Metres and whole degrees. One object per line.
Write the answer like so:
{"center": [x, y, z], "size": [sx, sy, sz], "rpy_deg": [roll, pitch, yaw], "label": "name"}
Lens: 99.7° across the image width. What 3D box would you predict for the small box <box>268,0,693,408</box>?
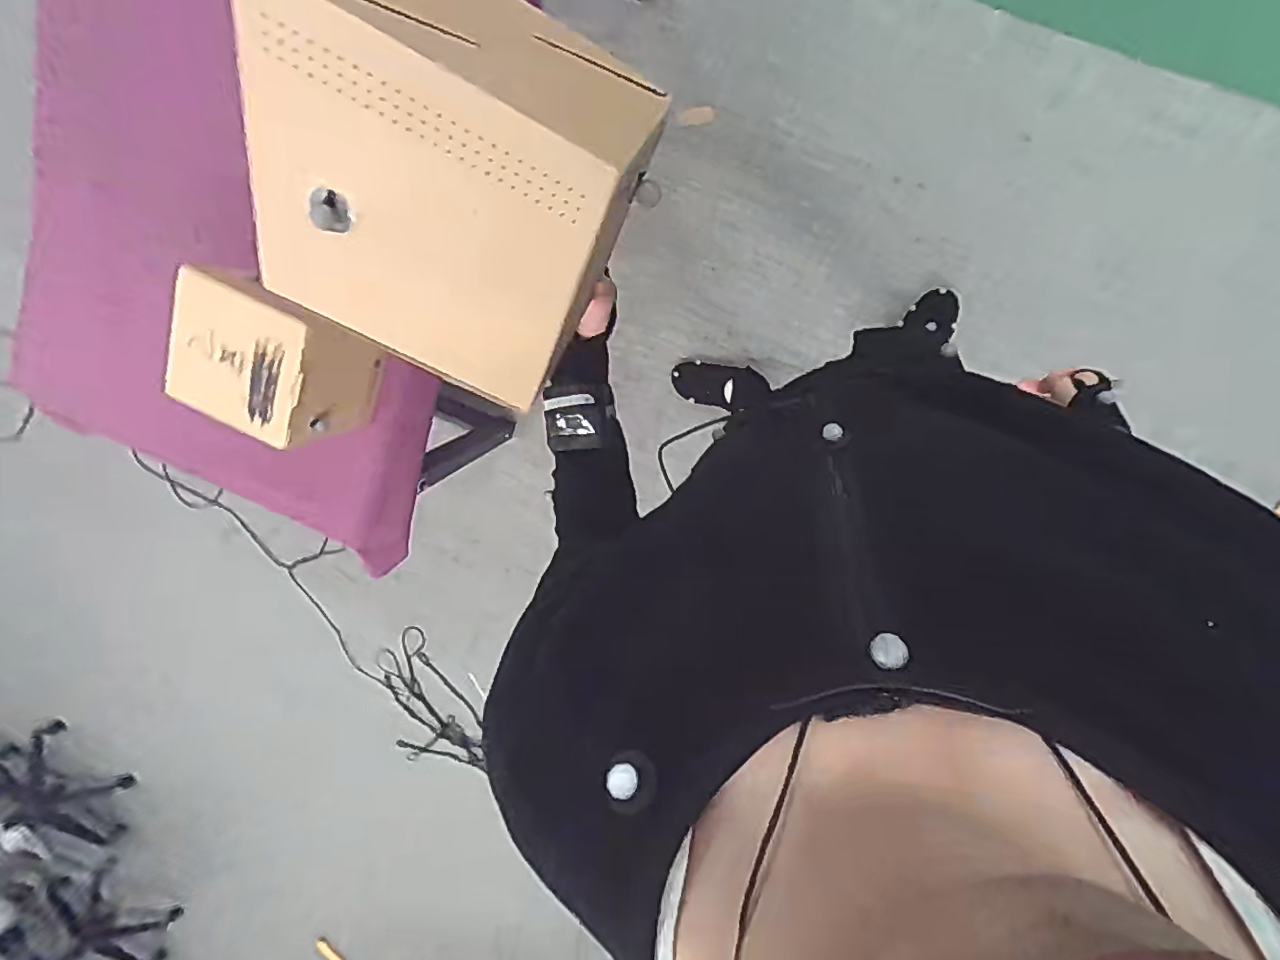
{"center": [-0.090, -0.184, 0.330], "size": [0.179, 0.168, 0.176], "rpy_deg": [26, 137, -11], "label": "small box"}
